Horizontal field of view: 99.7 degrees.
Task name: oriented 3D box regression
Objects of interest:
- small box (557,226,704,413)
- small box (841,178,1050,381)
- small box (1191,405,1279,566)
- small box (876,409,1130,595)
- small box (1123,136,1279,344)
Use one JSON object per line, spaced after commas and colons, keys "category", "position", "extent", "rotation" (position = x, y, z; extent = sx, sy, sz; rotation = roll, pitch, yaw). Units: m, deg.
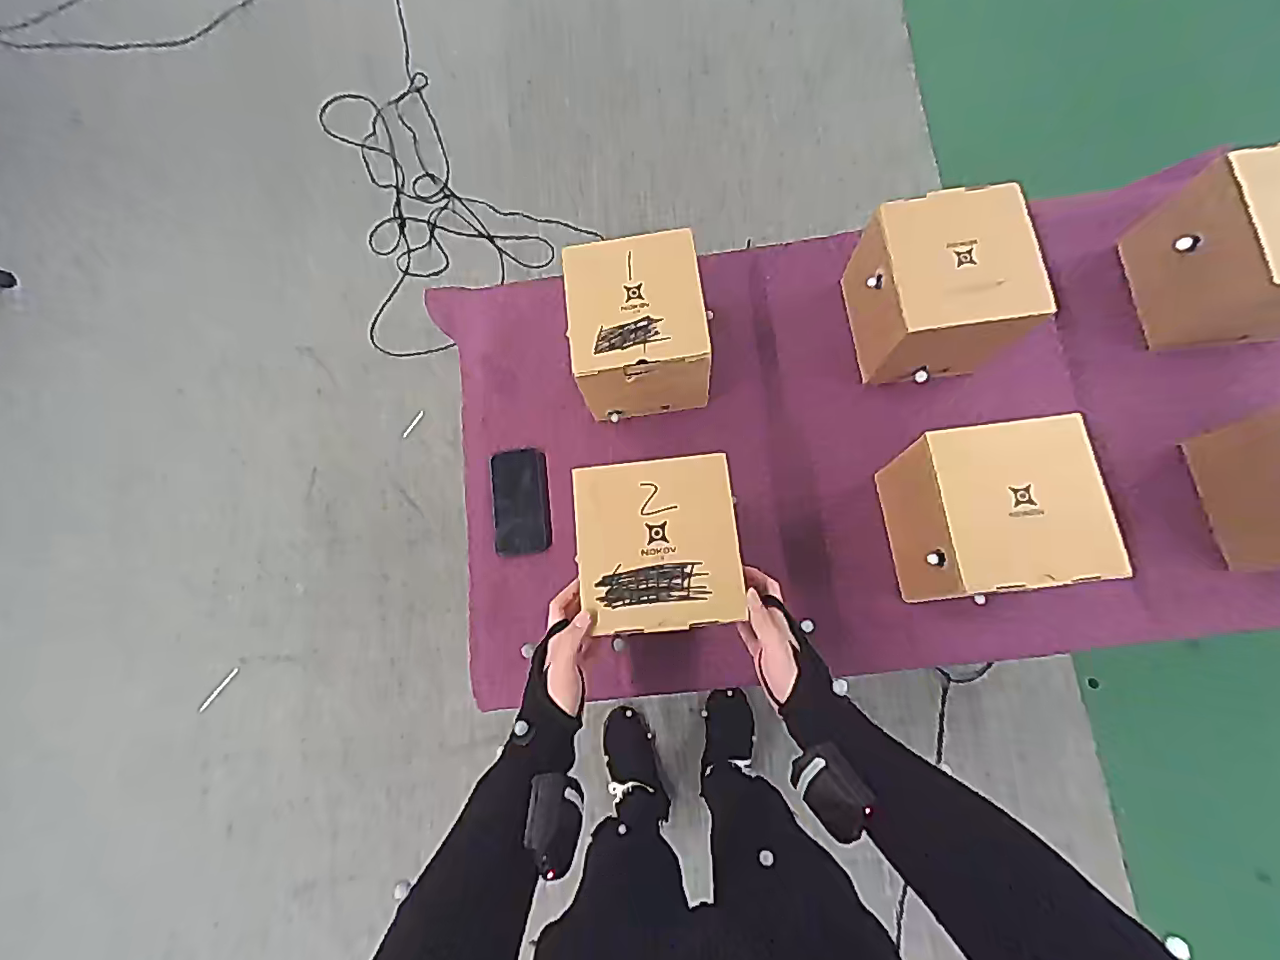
{"category": "small box", "position": [-0.006, -0.199, 0.724], "extent": [0.168, 0.176, 0.179], "rotation": [-8, 76, 4]}
{"category": "small box", "position": [0.374, -0.248, 0.701], "extent": [0.168, 0.176, 0.179], "rotation": [-7, 77, 5]}
{"category": "small box", "position": [0.787, -0.006, 0.600], "extent": [0.168, 0.176, 0.179], "rotation": [-9, 77, 5]}
{"category": "small box", "position": [0.398, 0.036, 0.633], "extent": [0.168, 0.176, 0.179], "rotation": [-7, 76, 3]}
{"category": "small box", "position": [0.762, -0.293, 0.672], "extent": [0.168, 0.176, 0.179], "rotation": [-6, 76, 5]}
